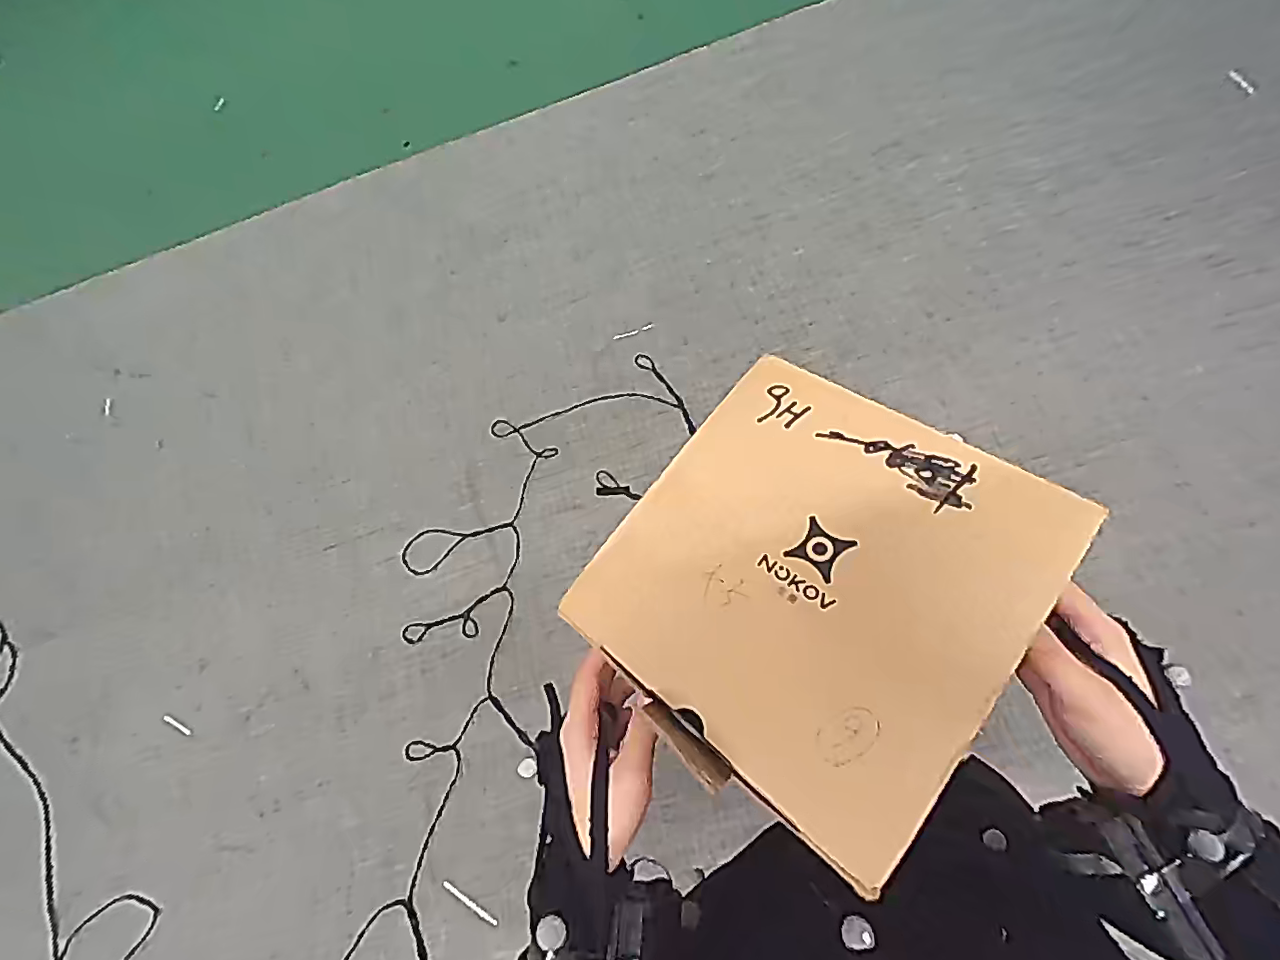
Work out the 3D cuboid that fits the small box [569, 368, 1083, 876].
[{"bbox_3d":[0.096,0.075,0.317,0.168,0.176,0.179,34,78,27],"label":"small box"}]
